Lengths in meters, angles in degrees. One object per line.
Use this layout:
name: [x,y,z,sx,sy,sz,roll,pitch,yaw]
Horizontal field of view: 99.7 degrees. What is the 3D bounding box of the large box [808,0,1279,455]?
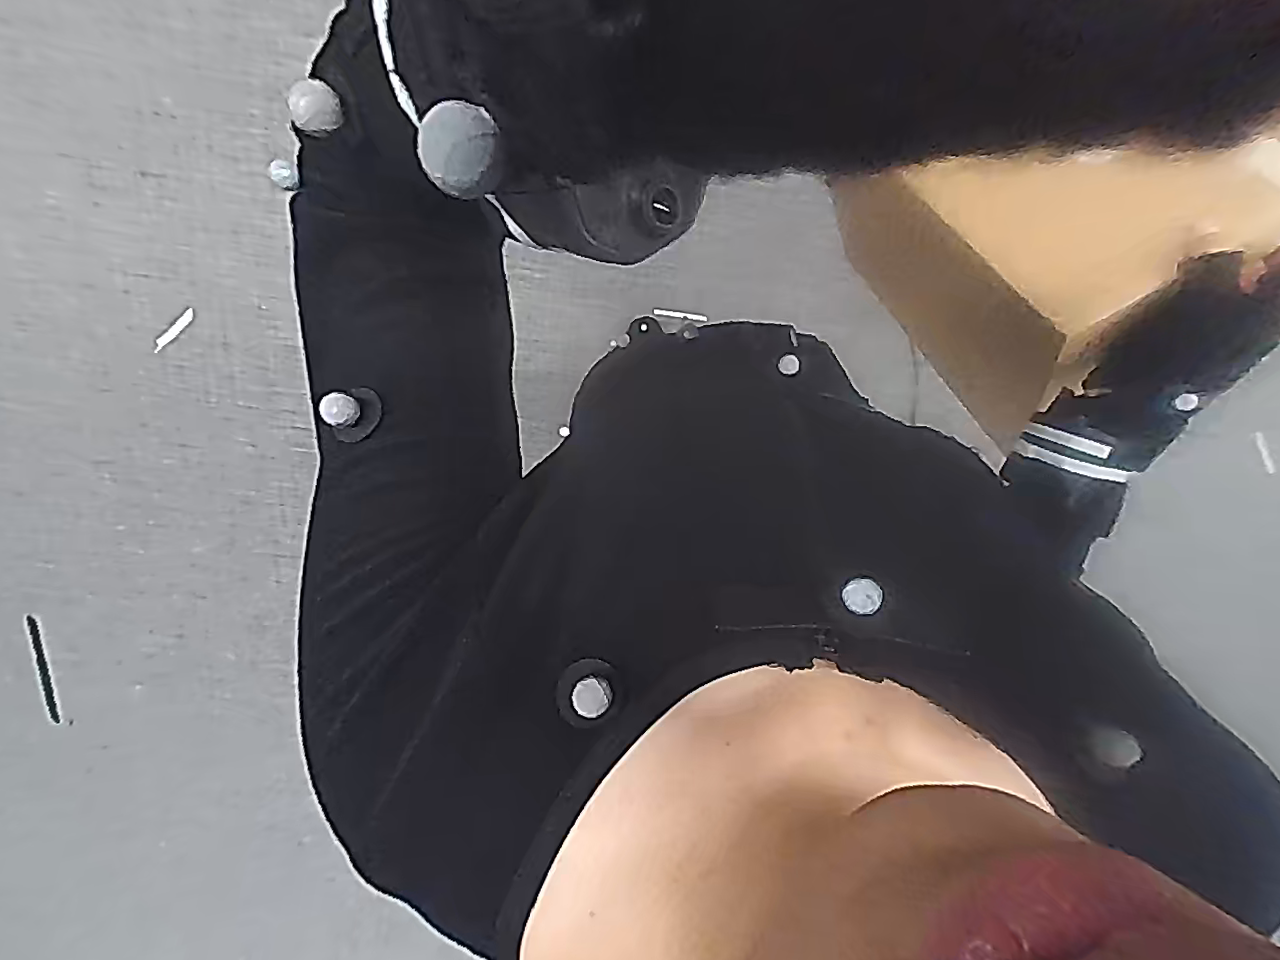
large box: [0.436,-0.303,0.574,0.320,0.320,0.408,-31,61,16]
